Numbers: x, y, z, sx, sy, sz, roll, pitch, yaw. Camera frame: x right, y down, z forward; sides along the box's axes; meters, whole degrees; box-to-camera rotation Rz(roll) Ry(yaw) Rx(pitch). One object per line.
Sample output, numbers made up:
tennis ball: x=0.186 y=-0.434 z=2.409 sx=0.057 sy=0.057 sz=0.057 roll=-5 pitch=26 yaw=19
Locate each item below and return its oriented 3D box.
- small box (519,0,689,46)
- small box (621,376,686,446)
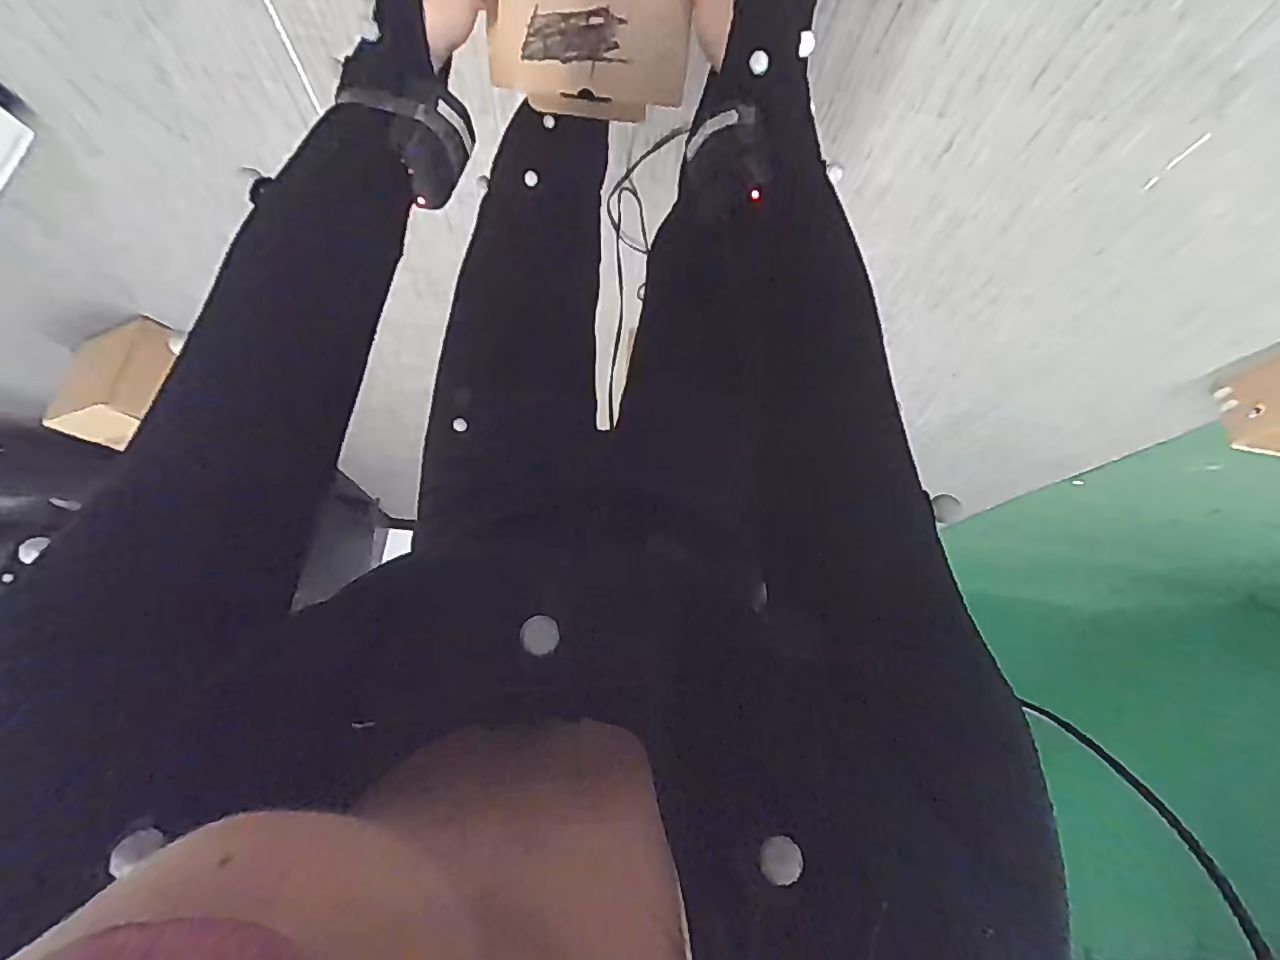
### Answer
small box: x=-0.022 y=-0.536 z=0.466 sx=0.168 sy=0.176 sz=0.179 roll=7 pitch=171 yaw=-1
small box: x=0.034 y=-0.168 z=1.511 sx=0.168 sy=0.176 sz=0.179 roll=5 pitch=158 yaw=-3
